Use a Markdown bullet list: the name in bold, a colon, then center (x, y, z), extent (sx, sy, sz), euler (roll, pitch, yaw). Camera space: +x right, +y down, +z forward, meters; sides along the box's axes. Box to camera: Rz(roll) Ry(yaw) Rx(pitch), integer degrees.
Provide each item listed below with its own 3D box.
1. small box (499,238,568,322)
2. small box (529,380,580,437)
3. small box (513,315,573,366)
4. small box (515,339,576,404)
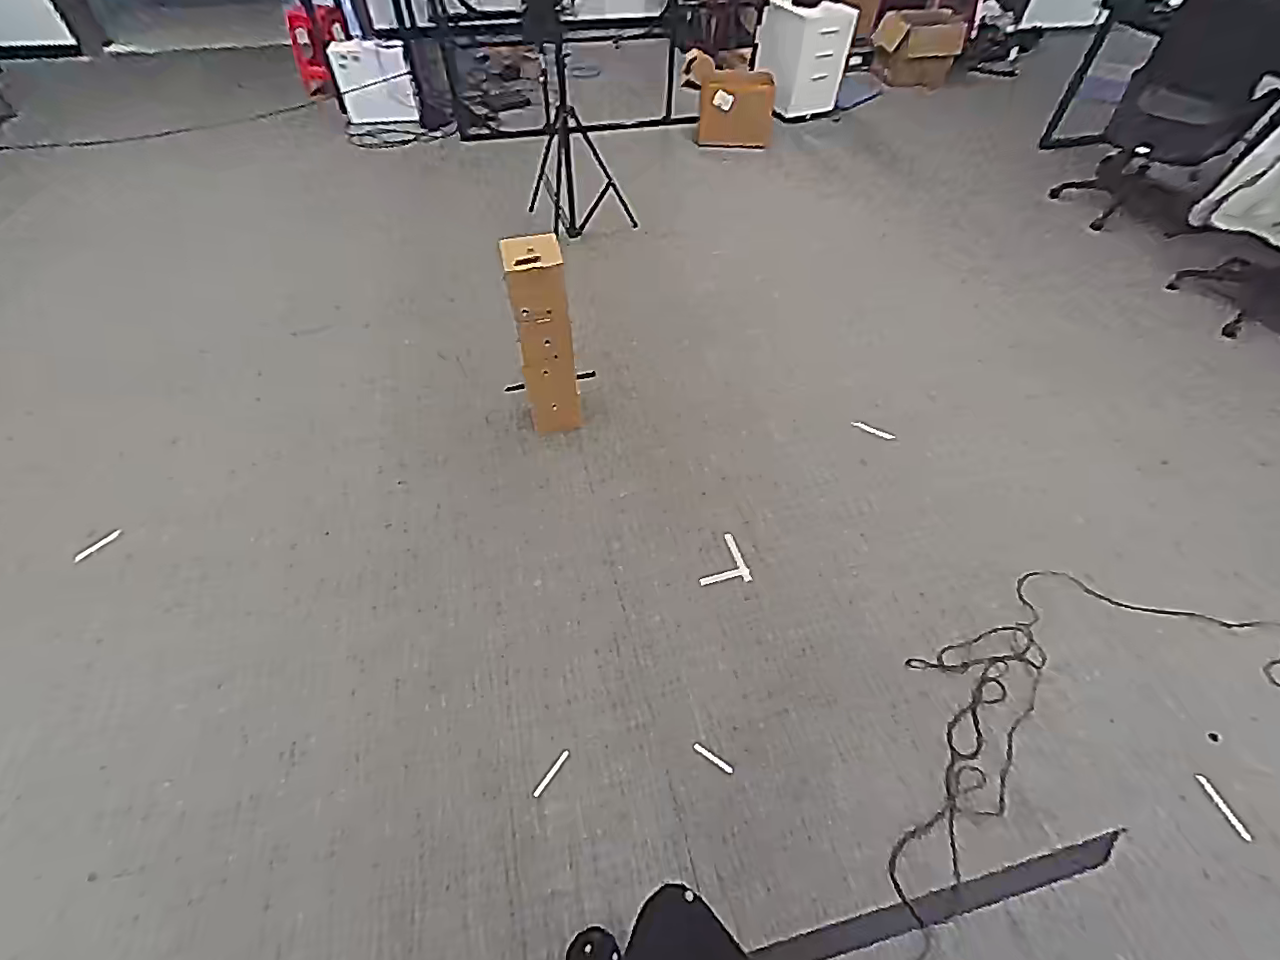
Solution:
- **small box**: center (-0.313, -0.583, 1.596), extent (0.168, 0.176, 0.179), euler (-11, 52, -9)
- **small box**: center (-0.317, -0.280, 1.984), extent (0.179, 0.176, 0.168), euler (-11, 54, -9)
- **small box**: center (-0.311, -0.481, 1.725), extent (0.168, 0.176, 0.179), euler (-10, 54, -8)
- **small box**: center (-0.321, -0.377, 1.851), extent (0.179, 0.176, 0.168), euler (-9, 54, -8)
